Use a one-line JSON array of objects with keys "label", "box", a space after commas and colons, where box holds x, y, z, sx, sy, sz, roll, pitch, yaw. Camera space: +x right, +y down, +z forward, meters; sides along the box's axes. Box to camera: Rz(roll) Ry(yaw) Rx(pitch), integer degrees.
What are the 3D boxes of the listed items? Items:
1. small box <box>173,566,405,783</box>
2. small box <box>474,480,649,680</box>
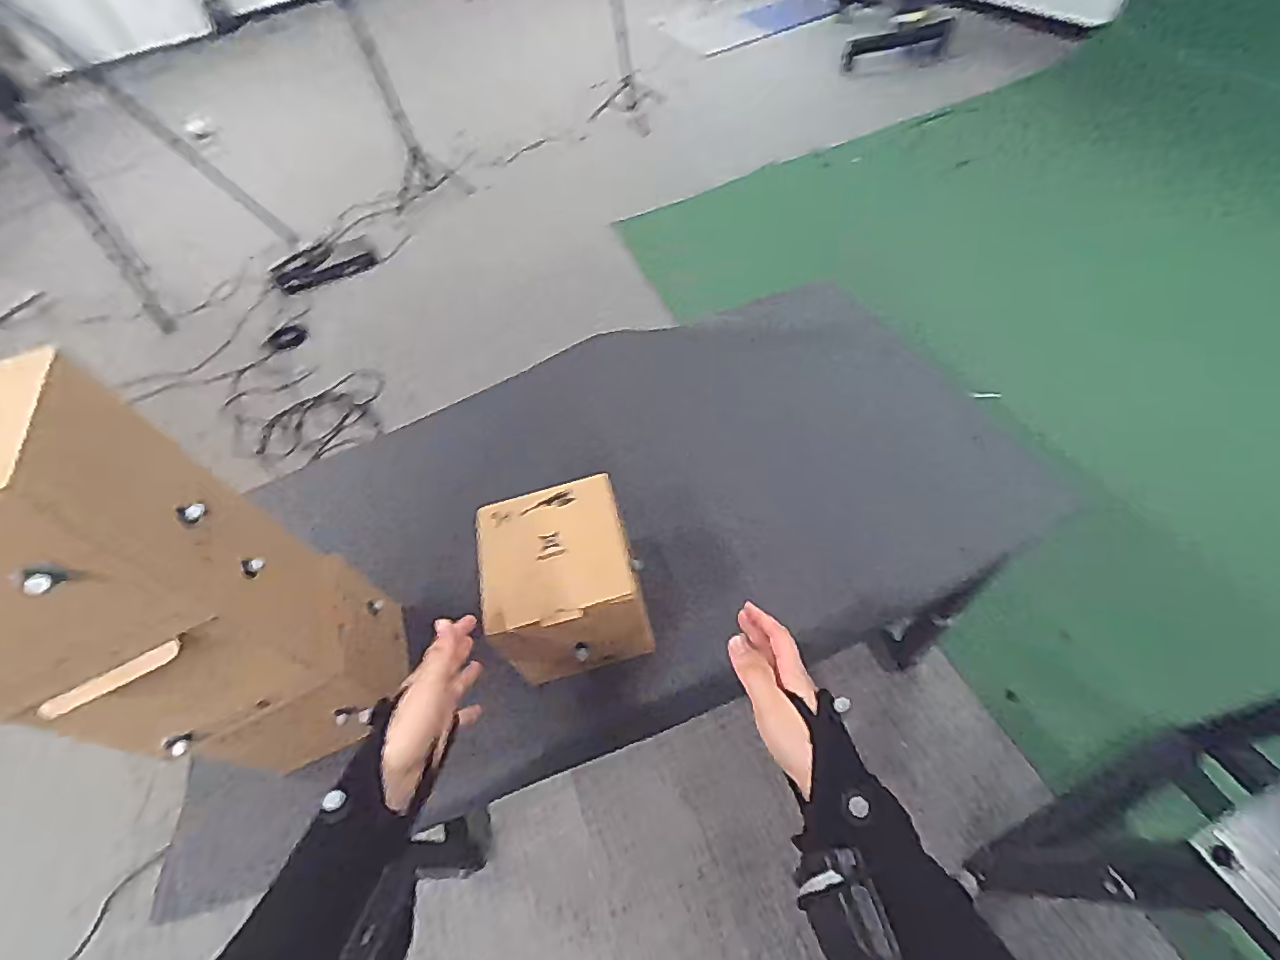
[{"label": "small box", "box": [-0.409, 0.241, 0.664, 0.179, 0.176, 0.168, -25, 52, -7]}, {"label": "small box", "box": [-0.095, 0.135, 0.681, 0.168, 0.176, 0.179, -17, 52, -1]}]
